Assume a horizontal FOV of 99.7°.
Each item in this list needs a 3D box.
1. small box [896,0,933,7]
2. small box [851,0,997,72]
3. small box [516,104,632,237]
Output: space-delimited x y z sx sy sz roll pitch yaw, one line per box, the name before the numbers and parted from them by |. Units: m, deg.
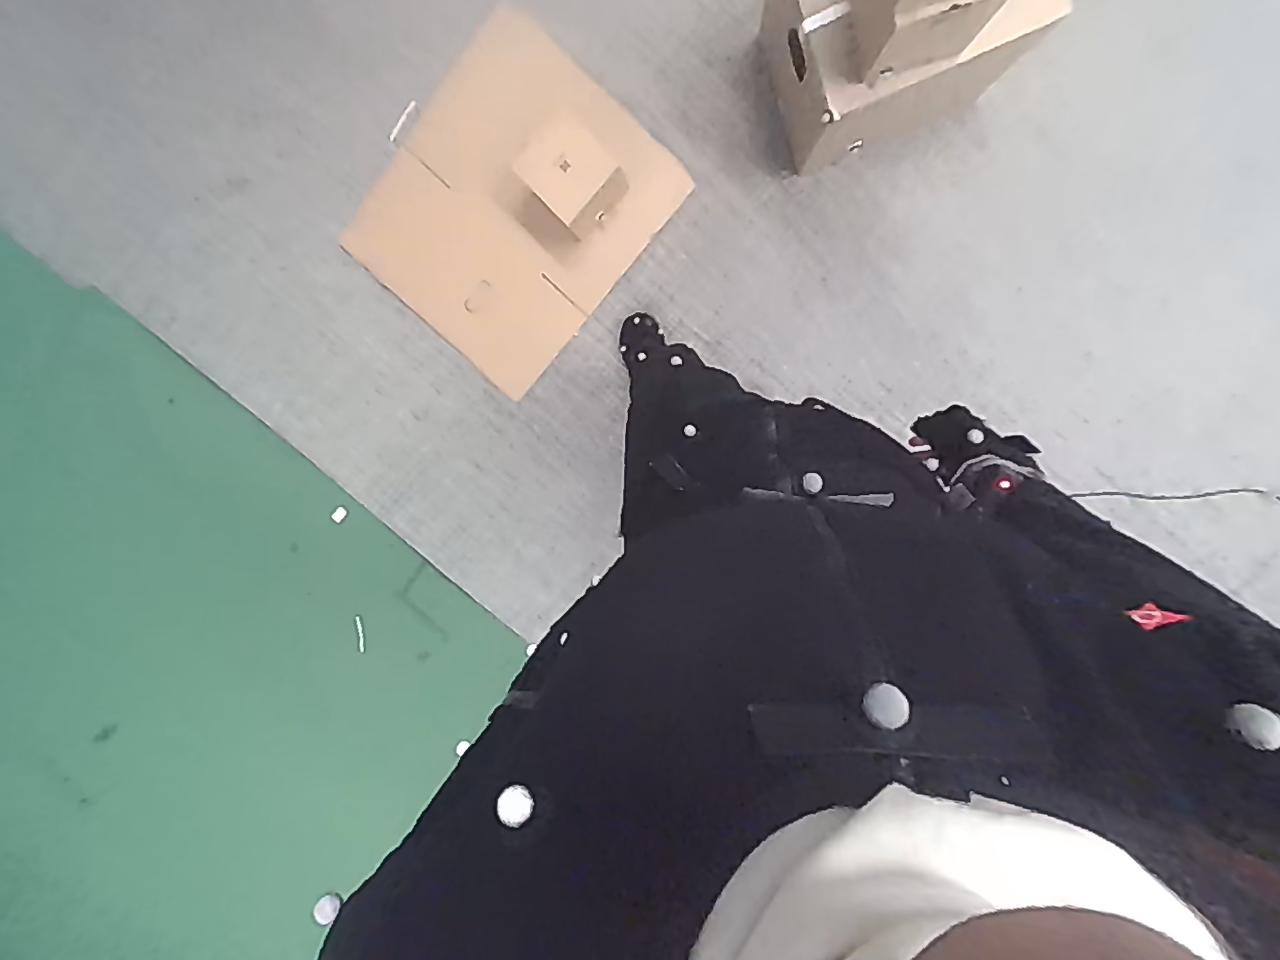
small box | 0.415 -0.741 0.662 0.179 0.176 0.168 -13 99 8
small box | 0.430 -0.764 0.821 0.168 0.176 0.179 -12 101 9
small box | -0.140 -0.678 1.212 0.179 0.176 0.168 44 105 -5
